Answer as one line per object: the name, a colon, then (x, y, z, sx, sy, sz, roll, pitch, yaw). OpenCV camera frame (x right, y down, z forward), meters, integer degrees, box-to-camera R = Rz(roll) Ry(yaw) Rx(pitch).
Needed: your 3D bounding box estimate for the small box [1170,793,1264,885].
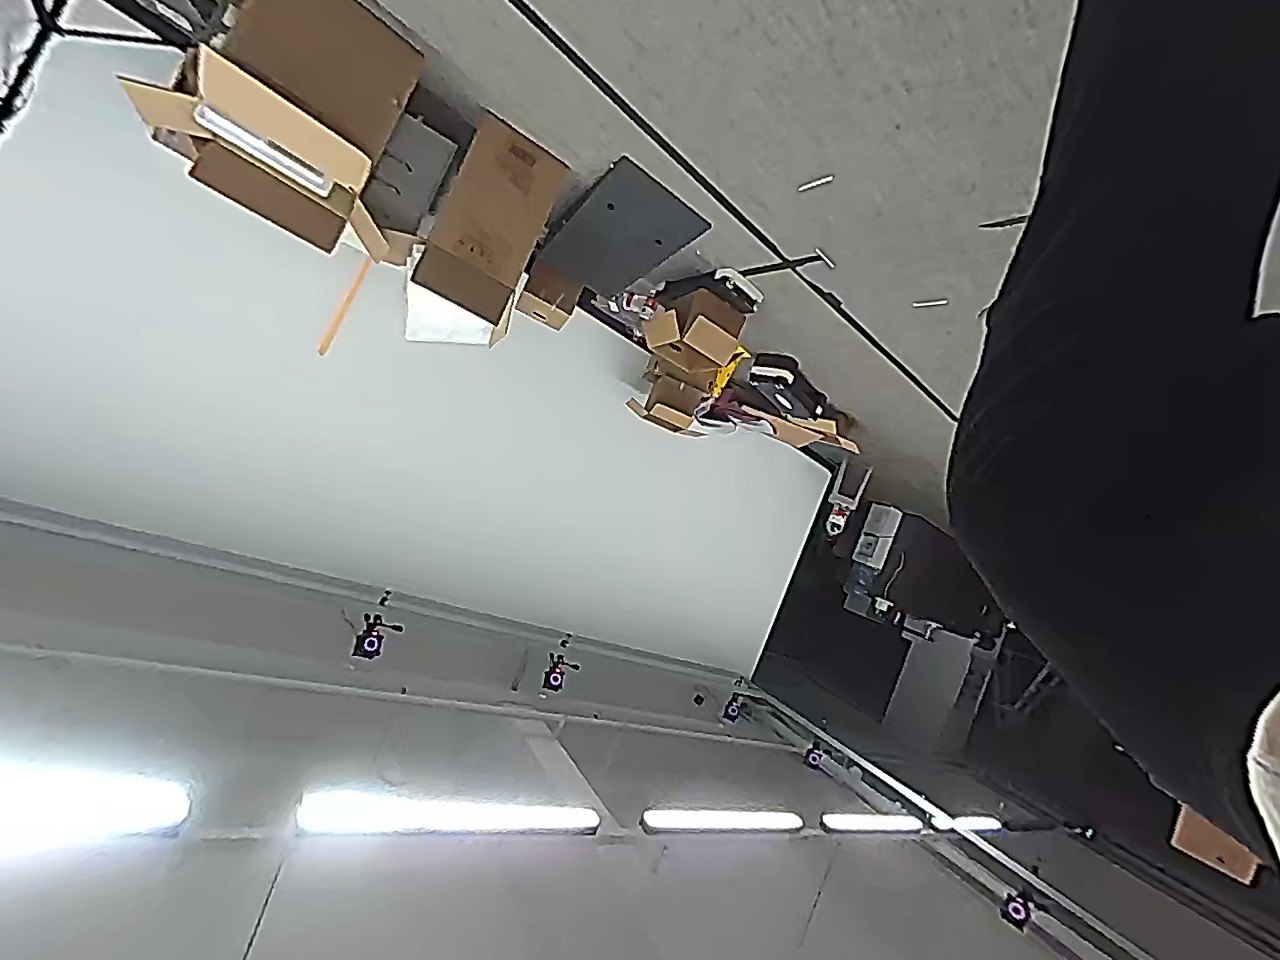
small box: (1.766, 1.085, 1.652, 0.179, 0.176, 0.168, 24, 176, -38)
